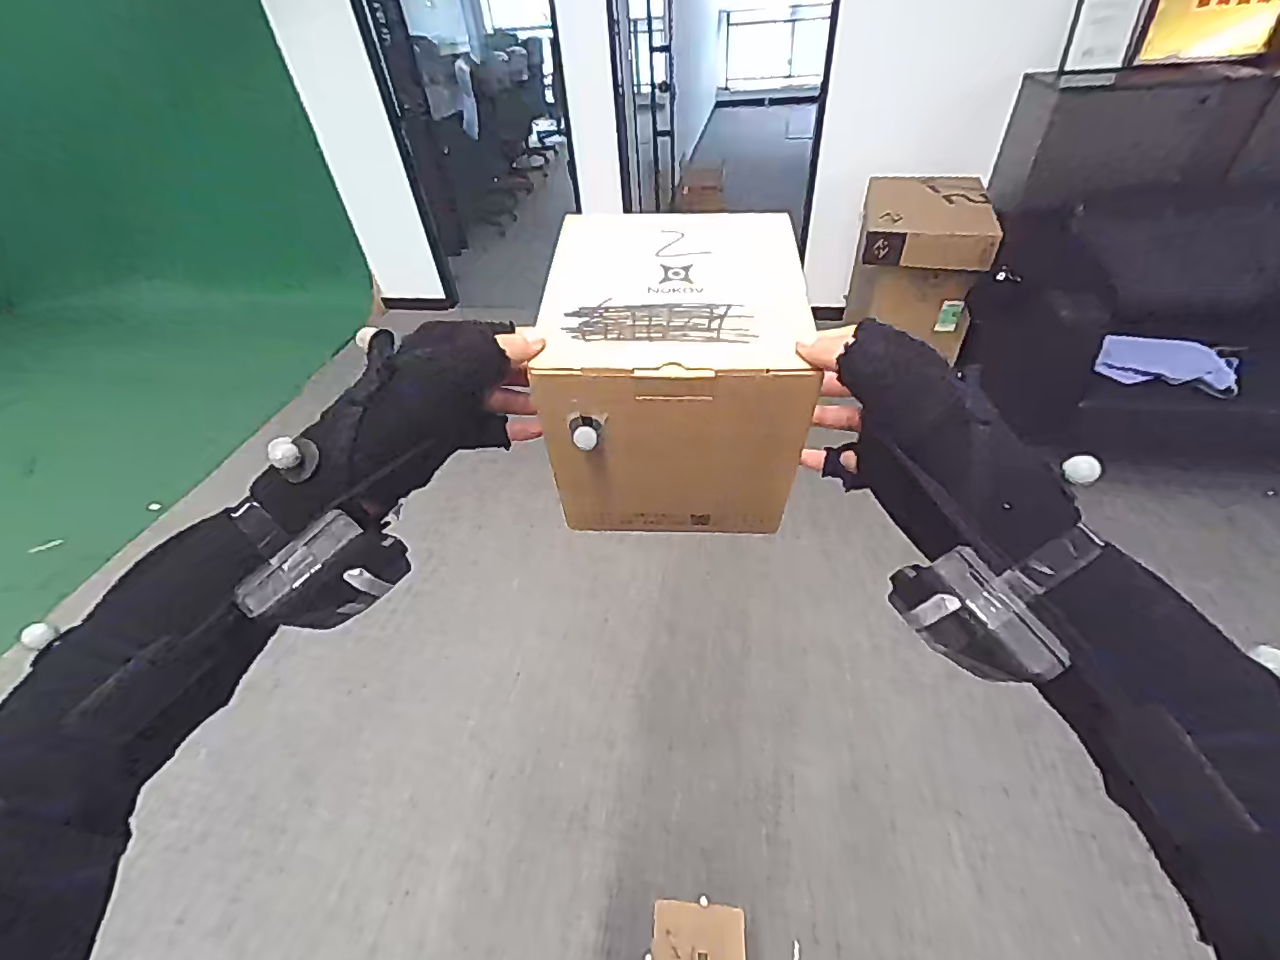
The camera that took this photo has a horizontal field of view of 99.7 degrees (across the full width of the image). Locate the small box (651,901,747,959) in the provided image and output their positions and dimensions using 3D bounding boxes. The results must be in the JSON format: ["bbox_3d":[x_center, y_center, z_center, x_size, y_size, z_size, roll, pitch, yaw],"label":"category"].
[{"bbox_3d":[0.111,0.941,1.043,0.179,0.176,0.168,2,42,7],"label":"small box"}]
